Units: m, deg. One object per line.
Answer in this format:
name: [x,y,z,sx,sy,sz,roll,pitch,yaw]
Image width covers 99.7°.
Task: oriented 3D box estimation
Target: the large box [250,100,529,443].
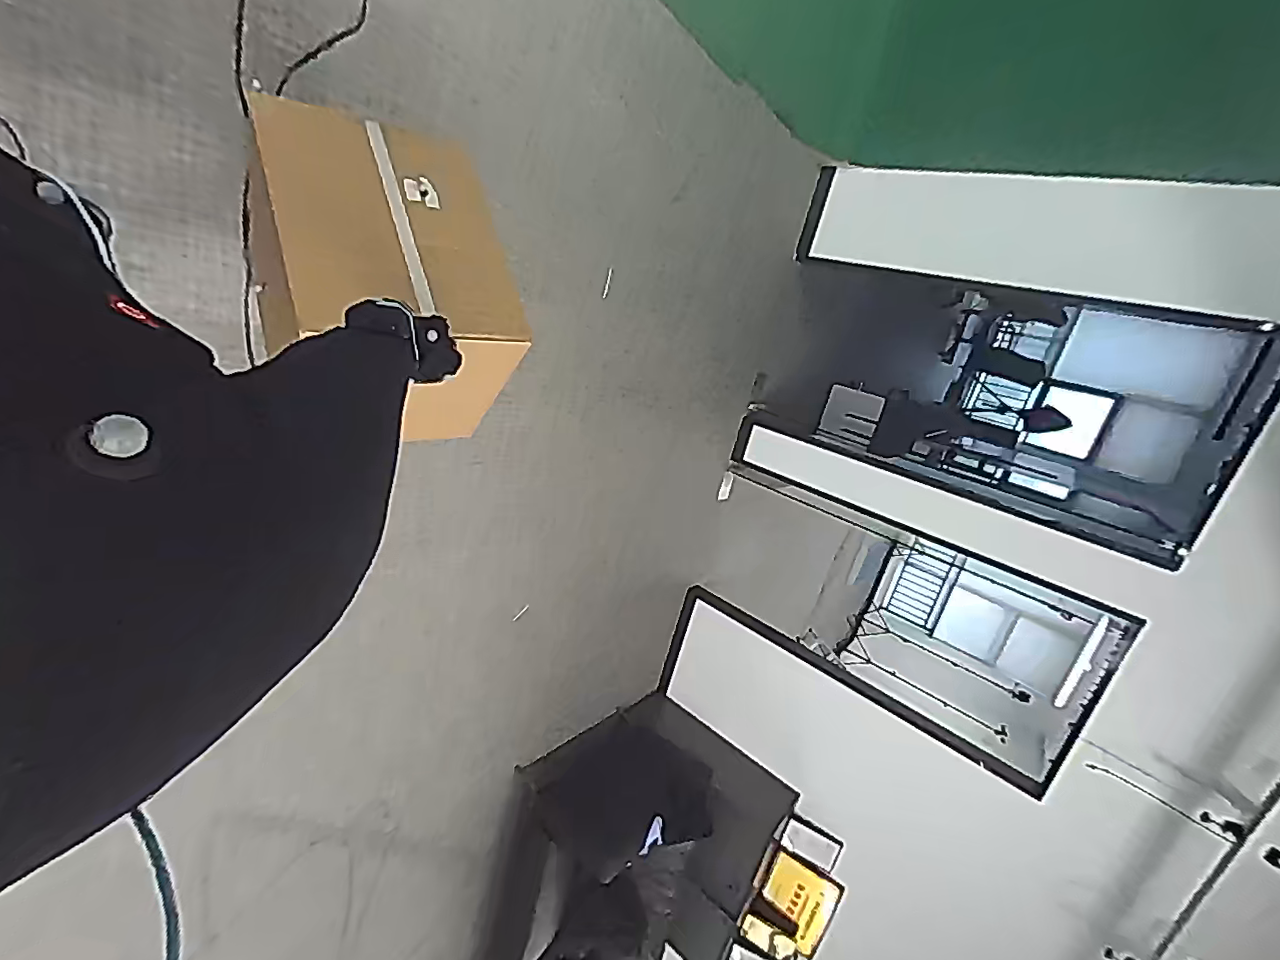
large box: [-0.437,-0.317,0.914,0.320,0.408,0.320,-8,159,-39]
